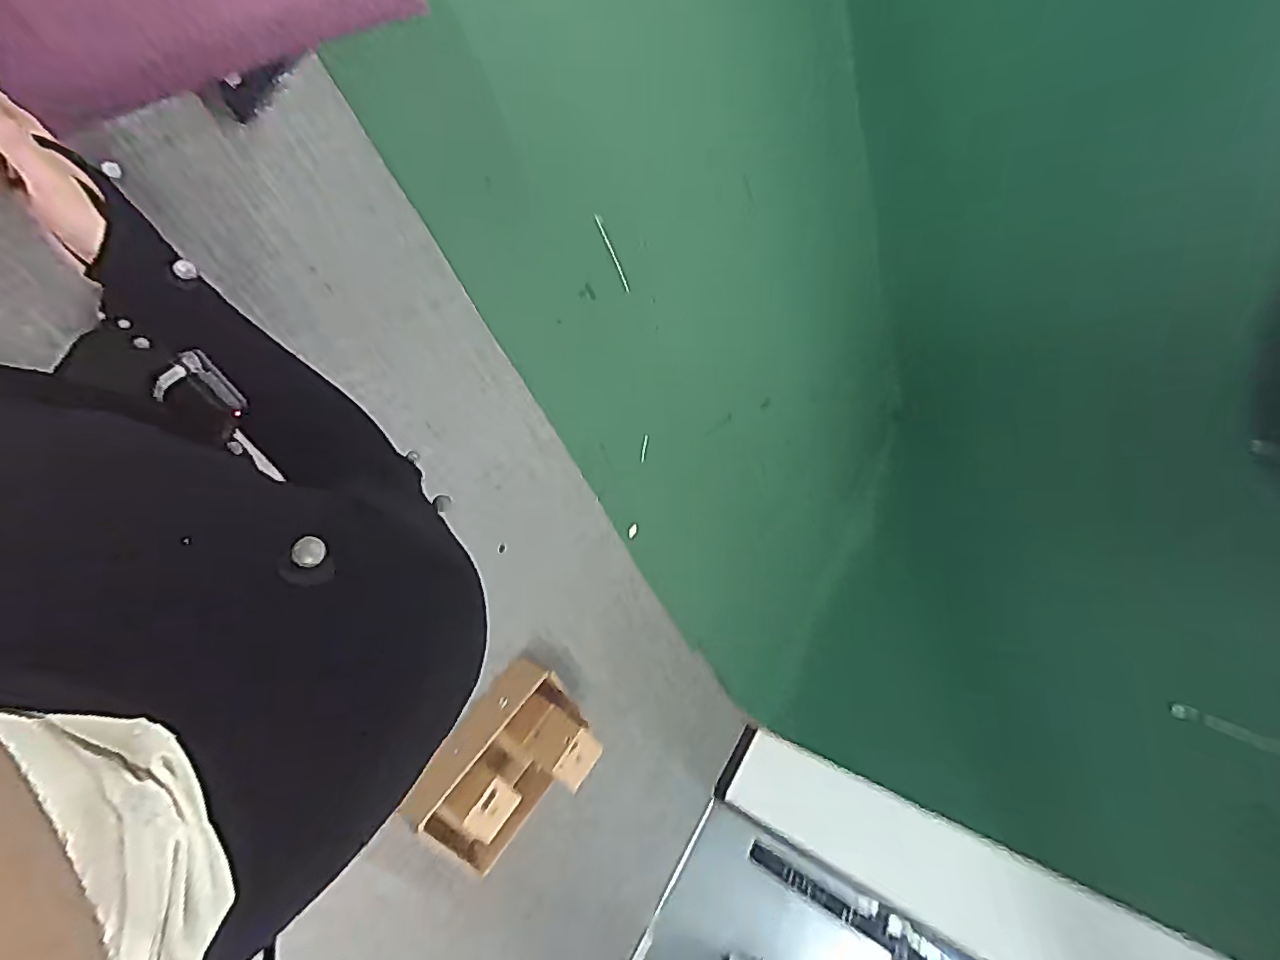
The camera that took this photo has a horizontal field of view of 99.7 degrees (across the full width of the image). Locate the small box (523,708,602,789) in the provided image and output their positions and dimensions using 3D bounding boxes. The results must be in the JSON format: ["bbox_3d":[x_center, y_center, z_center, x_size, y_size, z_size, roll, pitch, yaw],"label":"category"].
[{"bbox_3d":[-0.271,0.931,1.890,0.168,0.176,0.179,-49,131,-30],"label":"small box"}]
